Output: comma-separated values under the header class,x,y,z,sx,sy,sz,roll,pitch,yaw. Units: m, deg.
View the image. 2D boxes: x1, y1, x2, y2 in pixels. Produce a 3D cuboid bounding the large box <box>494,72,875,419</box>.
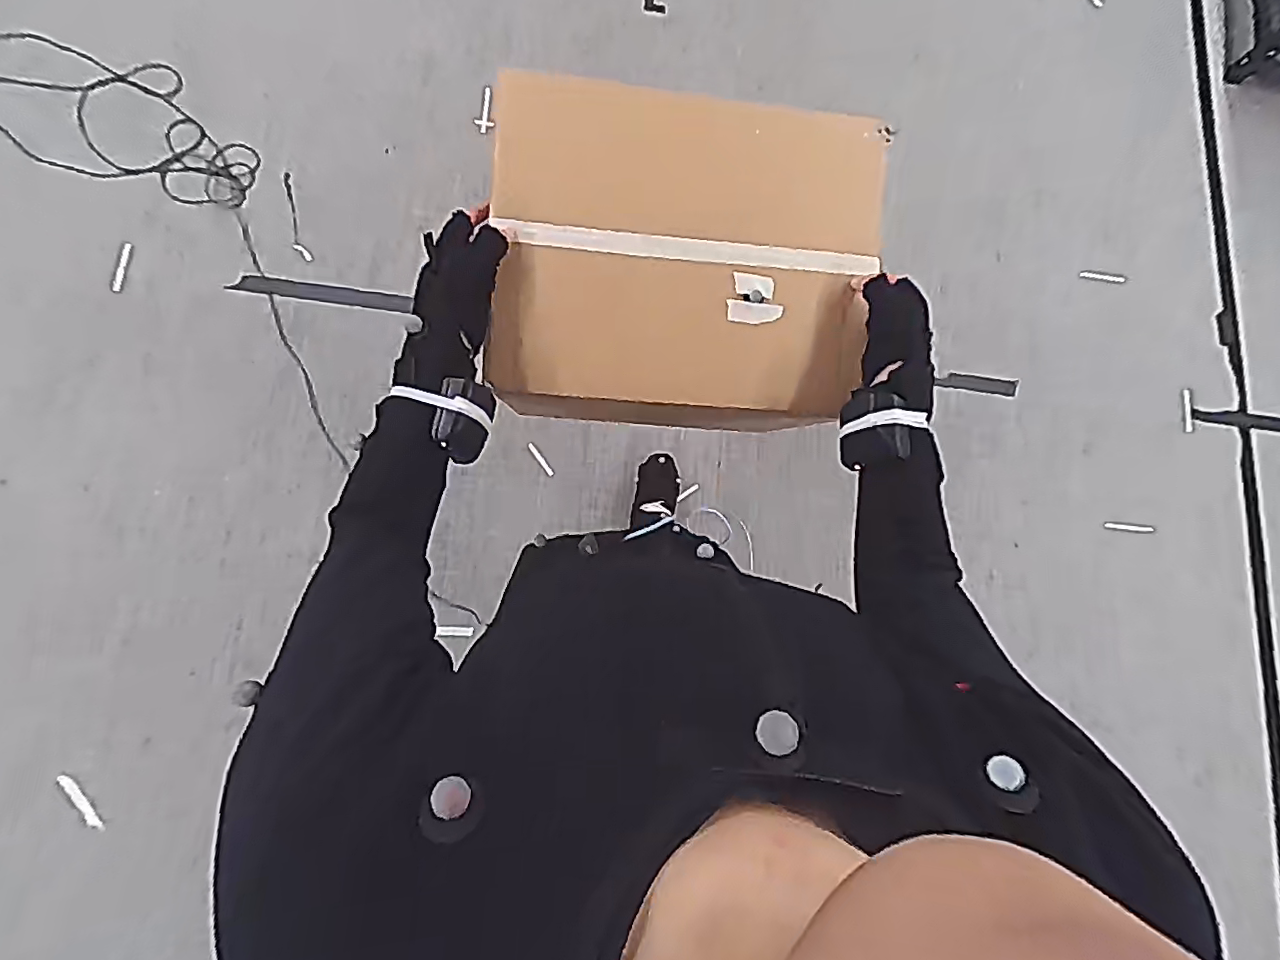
class,x,y,z,sx,sy,sz,roll,pitch,yaw
large box,0.032,-0.253,0.714,0.408,0.320,0.320,3,93,-8
